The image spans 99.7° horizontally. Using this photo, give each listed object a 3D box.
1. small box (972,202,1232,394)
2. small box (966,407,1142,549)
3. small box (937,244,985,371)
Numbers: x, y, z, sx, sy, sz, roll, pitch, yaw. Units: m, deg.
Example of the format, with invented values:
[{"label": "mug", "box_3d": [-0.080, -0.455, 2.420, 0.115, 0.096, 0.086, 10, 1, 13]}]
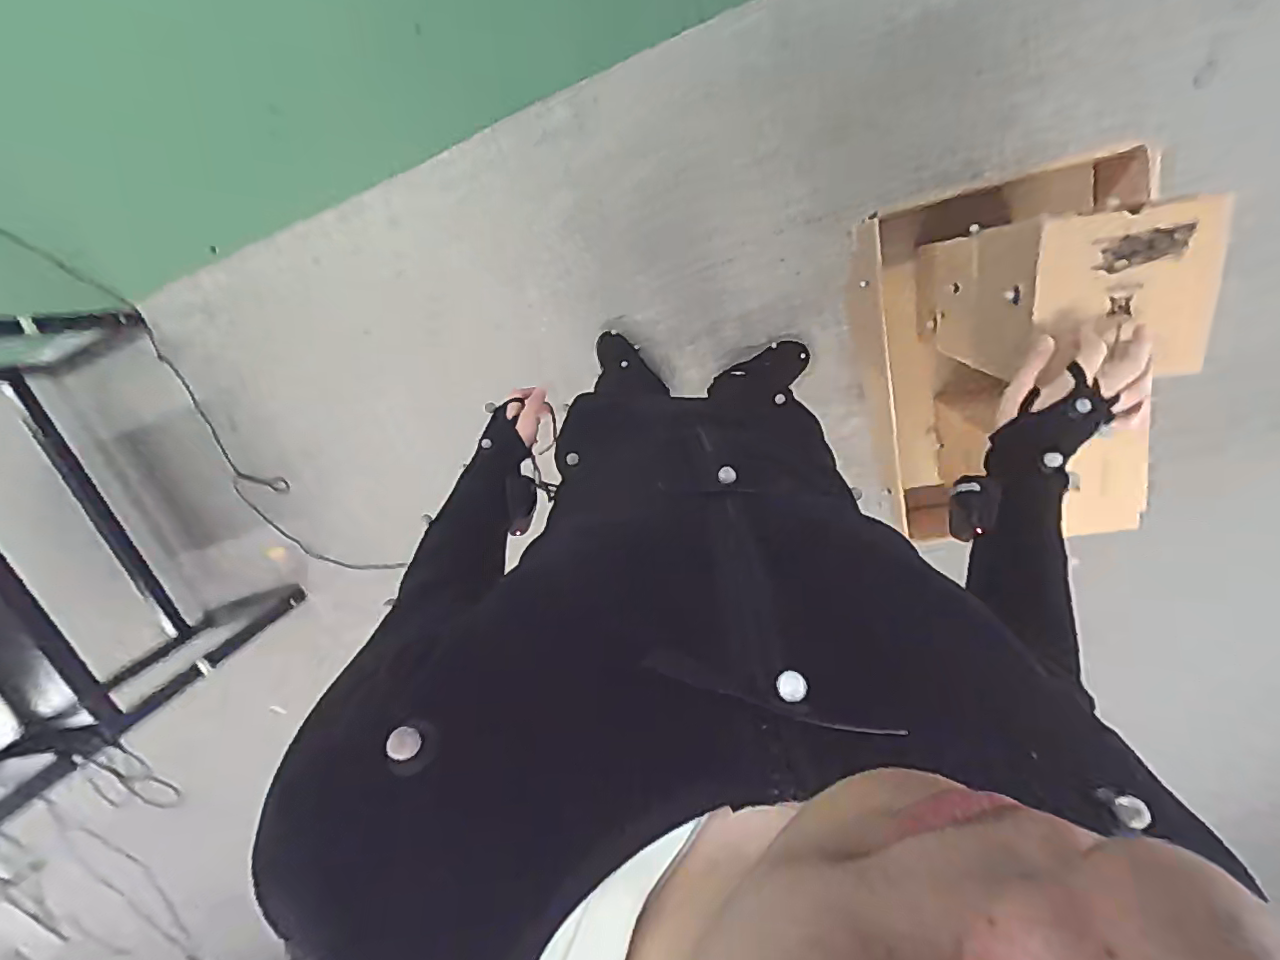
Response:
[{"label": "small box", "box_3d": [0.513, -0.208, 0.634, 0.168, 0.176, 0.179, -4, 110, 13]}, {"label": "small box", "box_3d": [0.636, -0.008, 0.857, 0.179, 0.176, 0.168, -9, 108, 14]}, {"label": "small box", "box_3d": [0.548, -0.261, 0.785, 0.179, 0.176, 0.168, -7, 109, 13]}]
